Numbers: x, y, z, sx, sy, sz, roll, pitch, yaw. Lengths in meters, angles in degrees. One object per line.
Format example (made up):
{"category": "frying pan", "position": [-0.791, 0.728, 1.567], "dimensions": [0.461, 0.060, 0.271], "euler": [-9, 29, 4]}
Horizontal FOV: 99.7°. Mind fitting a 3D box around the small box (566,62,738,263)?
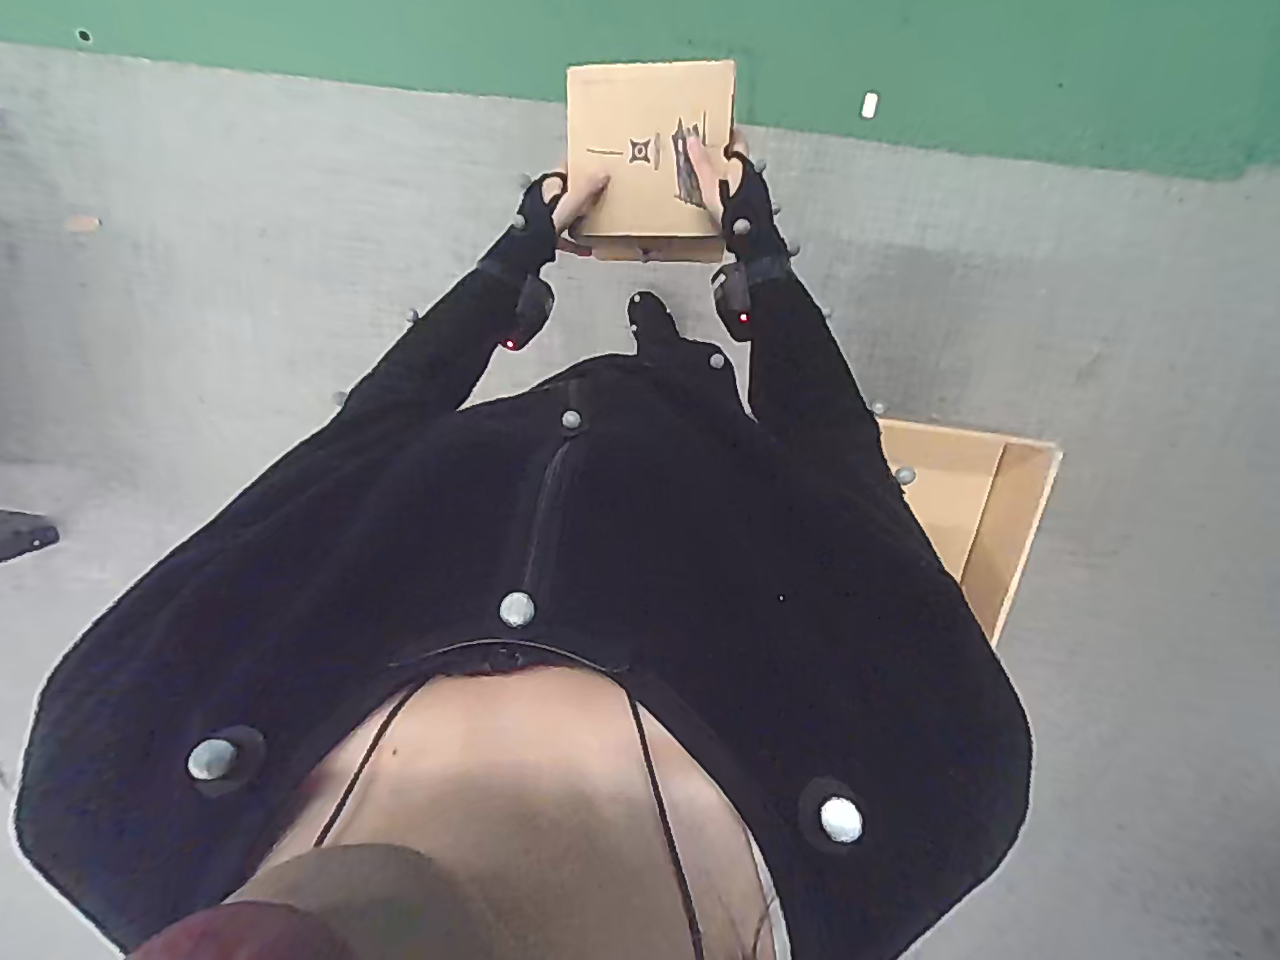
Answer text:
{"category": "small box", "position": [0.019, -0.360, 0.641], "dimensions": [0.179, 0.176, 0.168], "euler": [4, 103, 7]}
